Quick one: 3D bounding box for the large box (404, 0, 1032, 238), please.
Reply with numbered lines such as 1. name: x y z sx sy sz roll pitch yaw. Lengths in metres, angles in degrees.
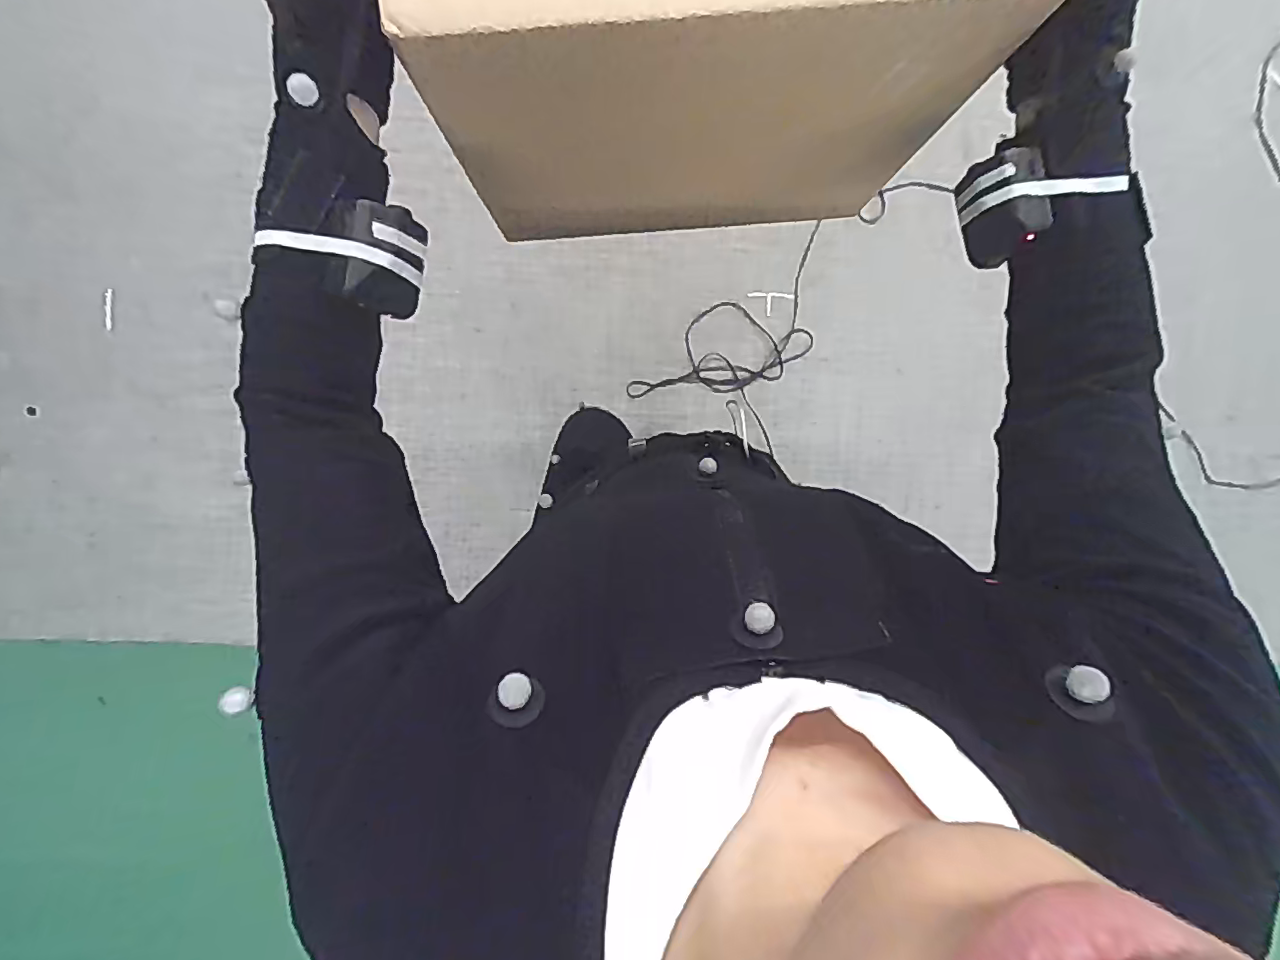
1. large box: 0.036 -0.437 0.464 0.408 0.320 0.320 -6 94 -2
